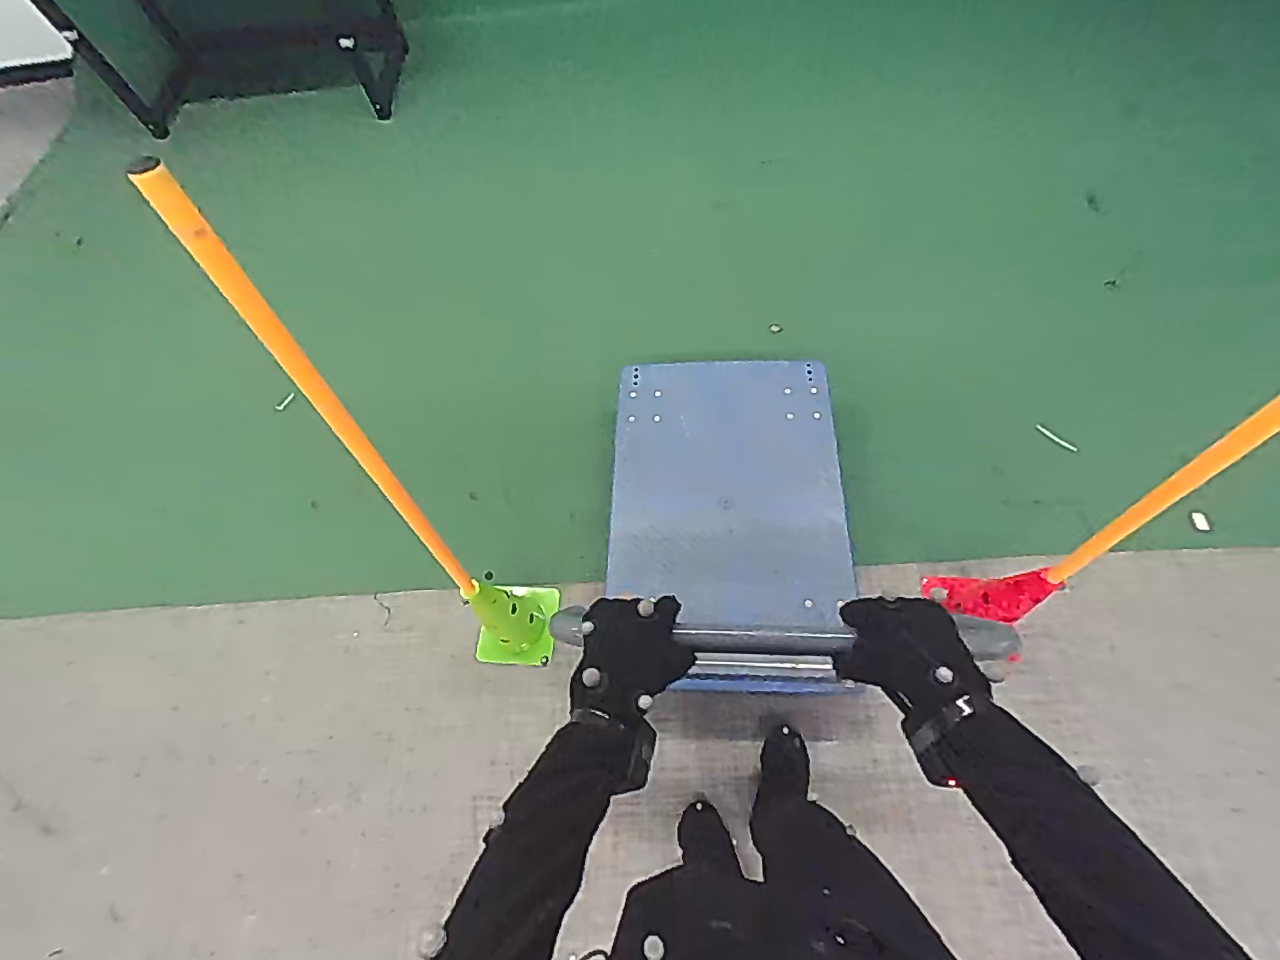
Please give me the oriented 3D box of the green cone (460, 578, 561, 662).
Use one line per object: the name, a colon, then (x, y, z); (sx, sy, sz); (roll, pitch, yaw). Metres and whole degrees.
green cone: (-0.332, 0.301, 1.285); (0.202, 0.368, 0.200); (0, 63, 7)
